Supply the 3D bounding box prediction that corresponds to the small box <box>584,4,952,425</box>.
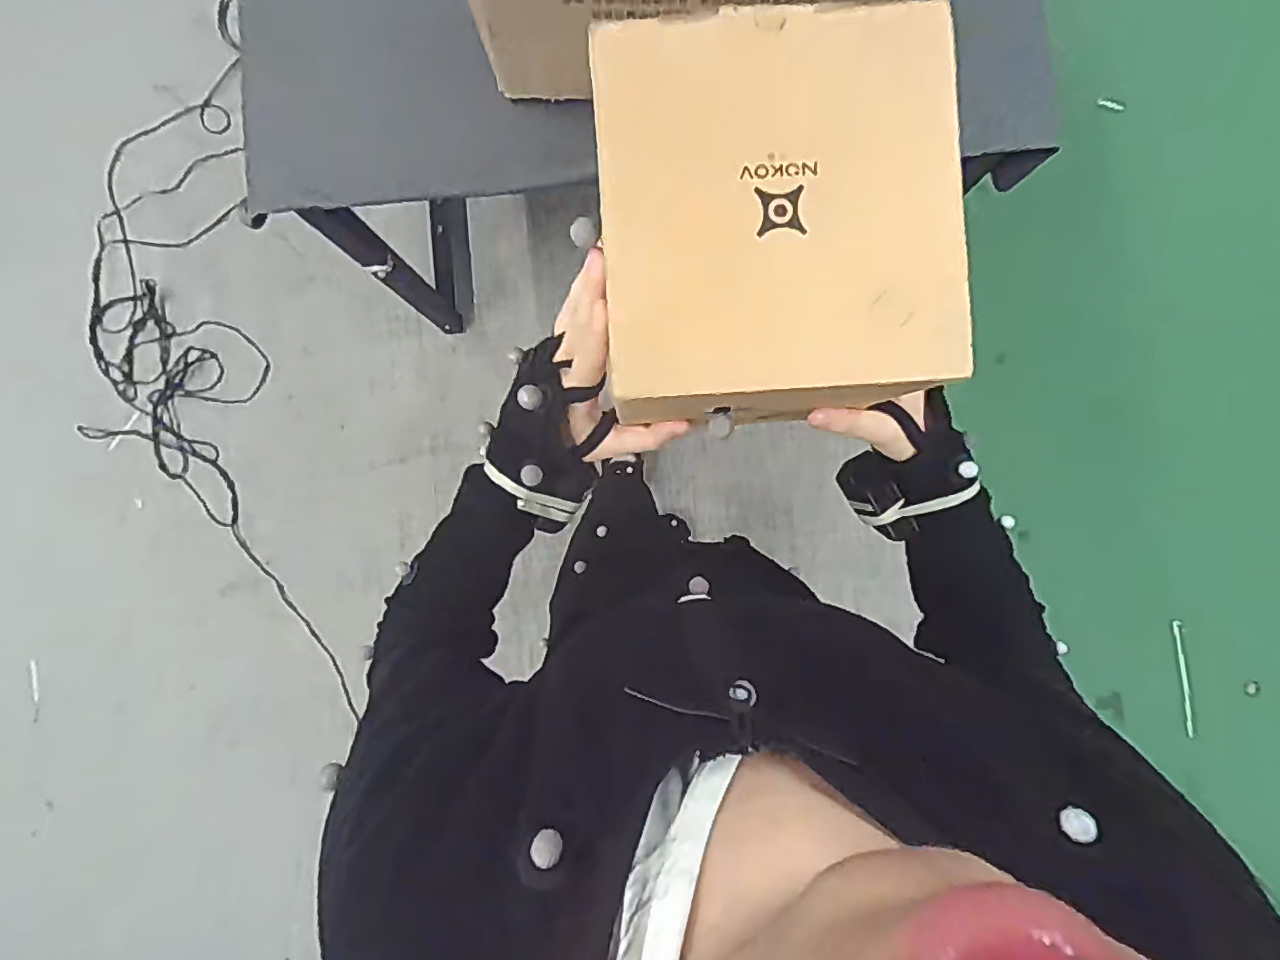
[{"bbox_3d":[0.060,-0.128,0.330,0.168,0.176,0.179,-3,89,1],"label":"small box"}]
